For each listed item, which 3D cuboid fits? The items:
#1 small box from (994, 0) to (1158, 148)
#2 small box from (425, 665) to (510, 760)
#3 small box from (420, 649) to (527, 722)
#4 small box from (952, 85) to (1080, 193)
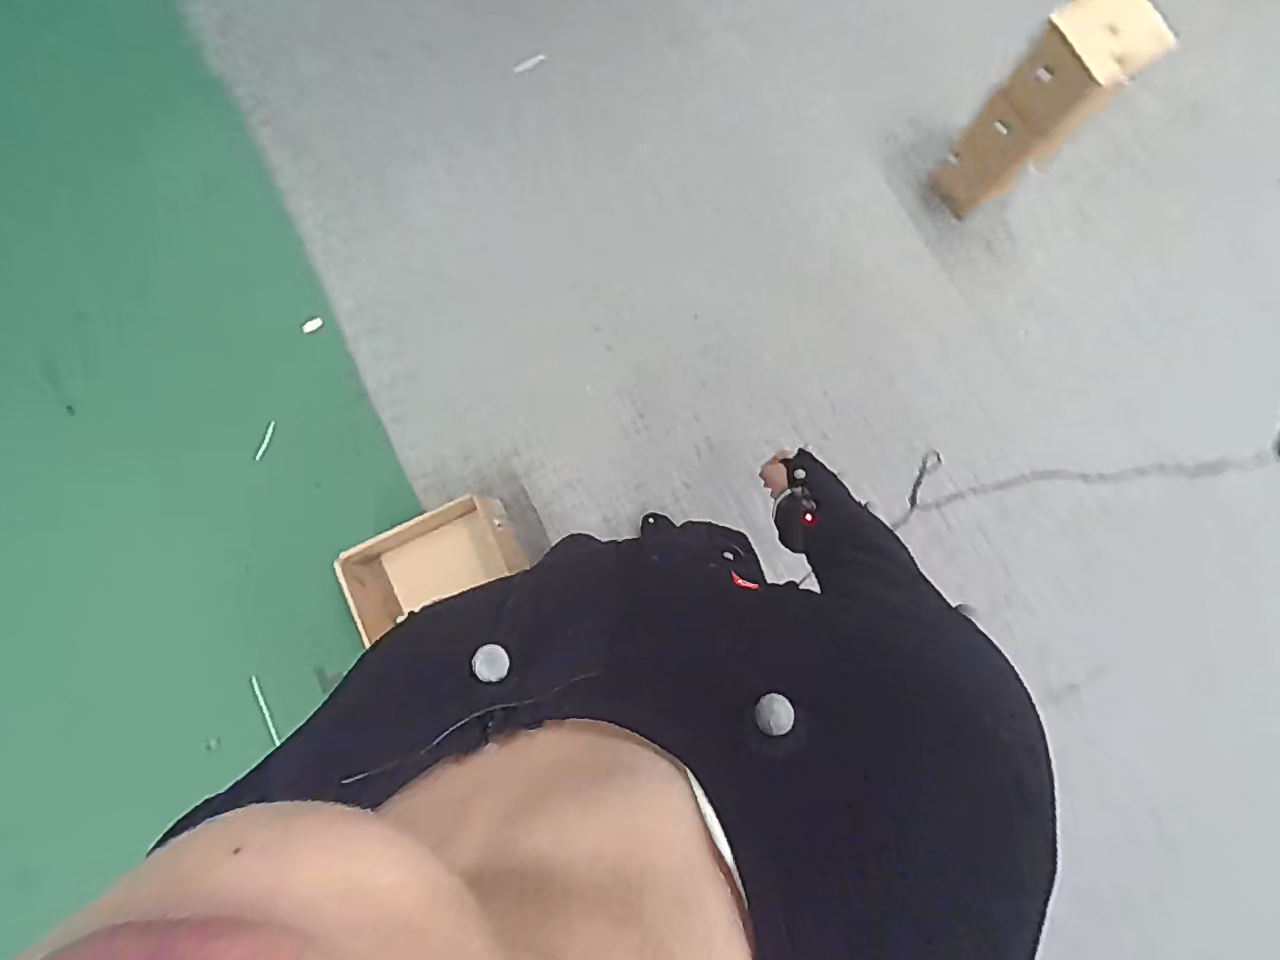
[{"bbox_3d":[0.897,-0.854,1.135,0.168,0.176,0.179,-30,83,1],"label":"small box"},{"bbox_3d":[-0.400,0.524,1.171,0.179,0.176,0.168,-27,82,0],"label":"small box"},{"bbox_3d":[-0.404,0.542,1.335,0.179,0.176,0.168,-28,83,-1],"label":"small box"},{"bbox_3d":[0.898,-0.840,1.299,0.168,0.176,0.179,-30,85,1],"label":"small box"}]
